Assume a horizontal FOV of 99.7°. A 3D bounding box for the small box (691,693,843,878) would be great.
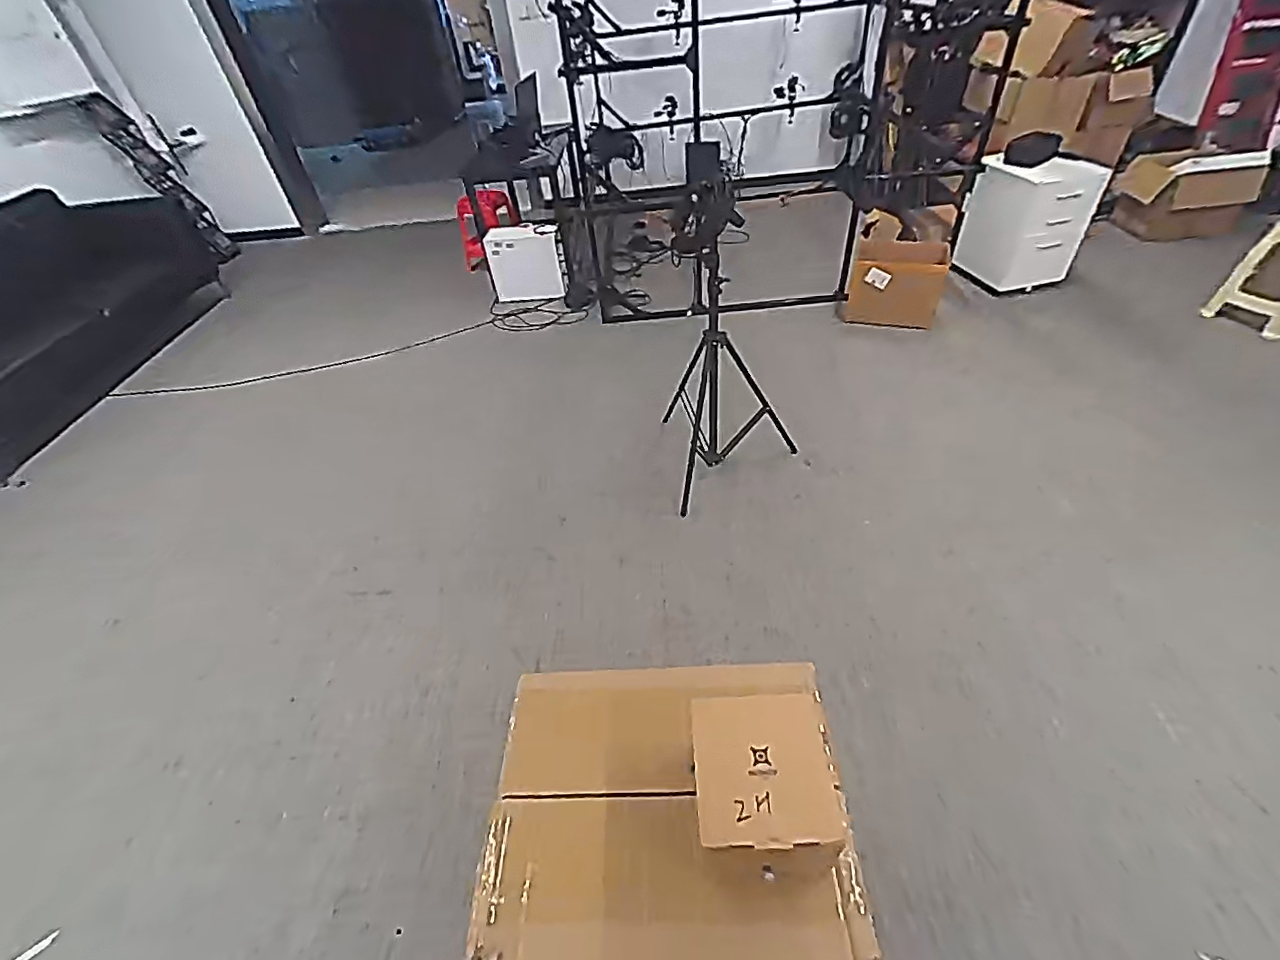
[{"bbox_3d":[0.156,0.411,0.729,0.168,0.176,0.179,-5,44,4],"label":"small box"}]
